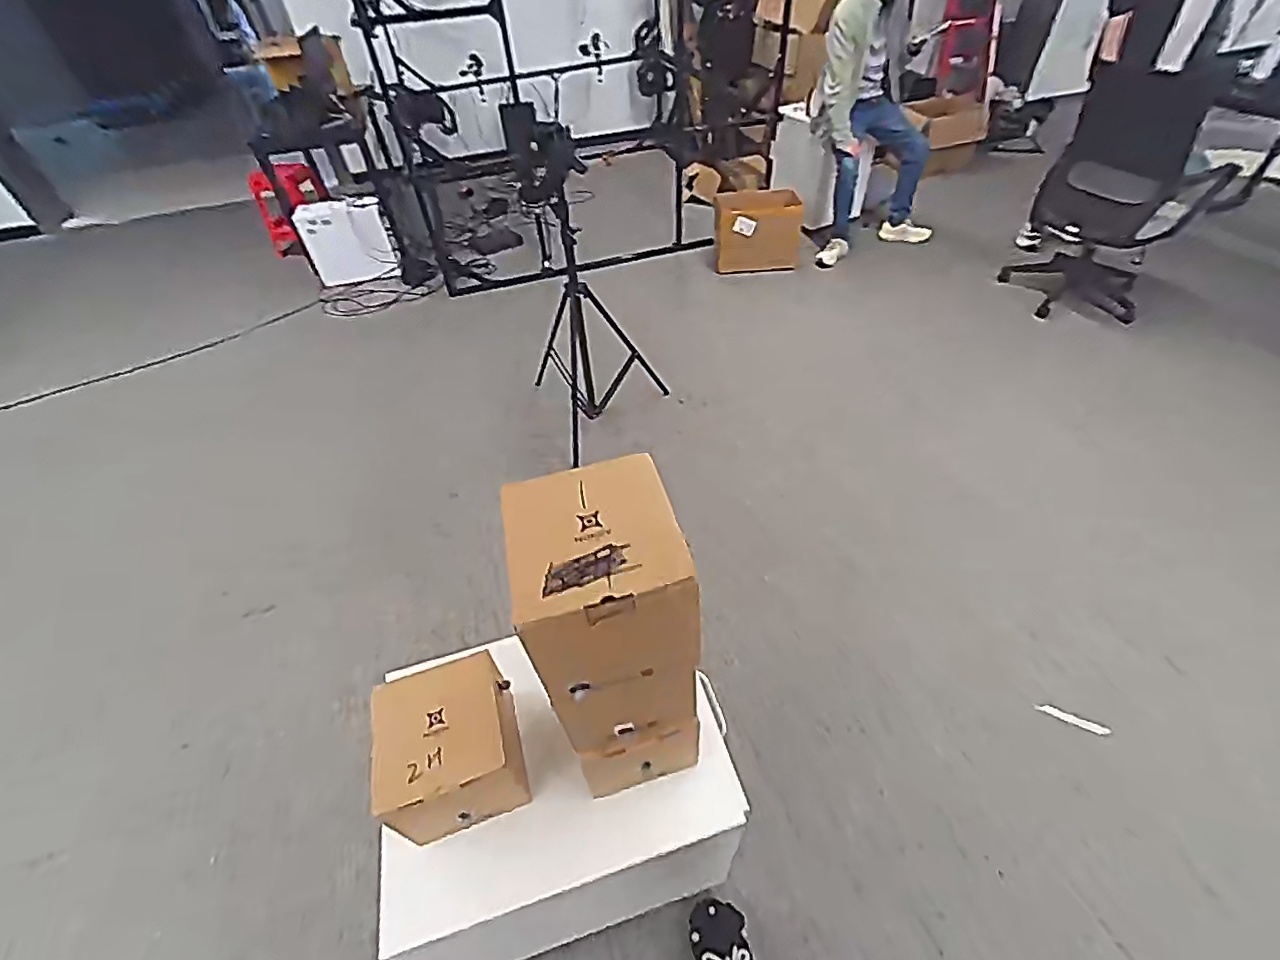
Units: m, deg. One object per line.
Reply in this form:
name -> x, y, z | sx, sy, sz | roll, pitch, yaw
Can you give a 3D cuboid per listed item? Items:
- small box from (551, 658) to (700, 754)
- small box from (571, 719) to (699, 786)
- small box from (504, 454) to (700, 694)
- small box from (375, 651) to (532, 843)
small box -> -0.028, 0.217, 0.695 | 0.168, 0.176, 0.179 | -15, 47, -7
small box -> -0.014, 0.336, 0.808 | 0.168, 0.176, 0.179 | -15, 48, -5
small box -> -0.038, 0.105, 0.575 | 0.168, 0.176, 0.179 | -14, 45, -6
small box -> -0.264, 0.384, 0.779 | 0.168, 0.176, 0.179 | -16, 47, -11
